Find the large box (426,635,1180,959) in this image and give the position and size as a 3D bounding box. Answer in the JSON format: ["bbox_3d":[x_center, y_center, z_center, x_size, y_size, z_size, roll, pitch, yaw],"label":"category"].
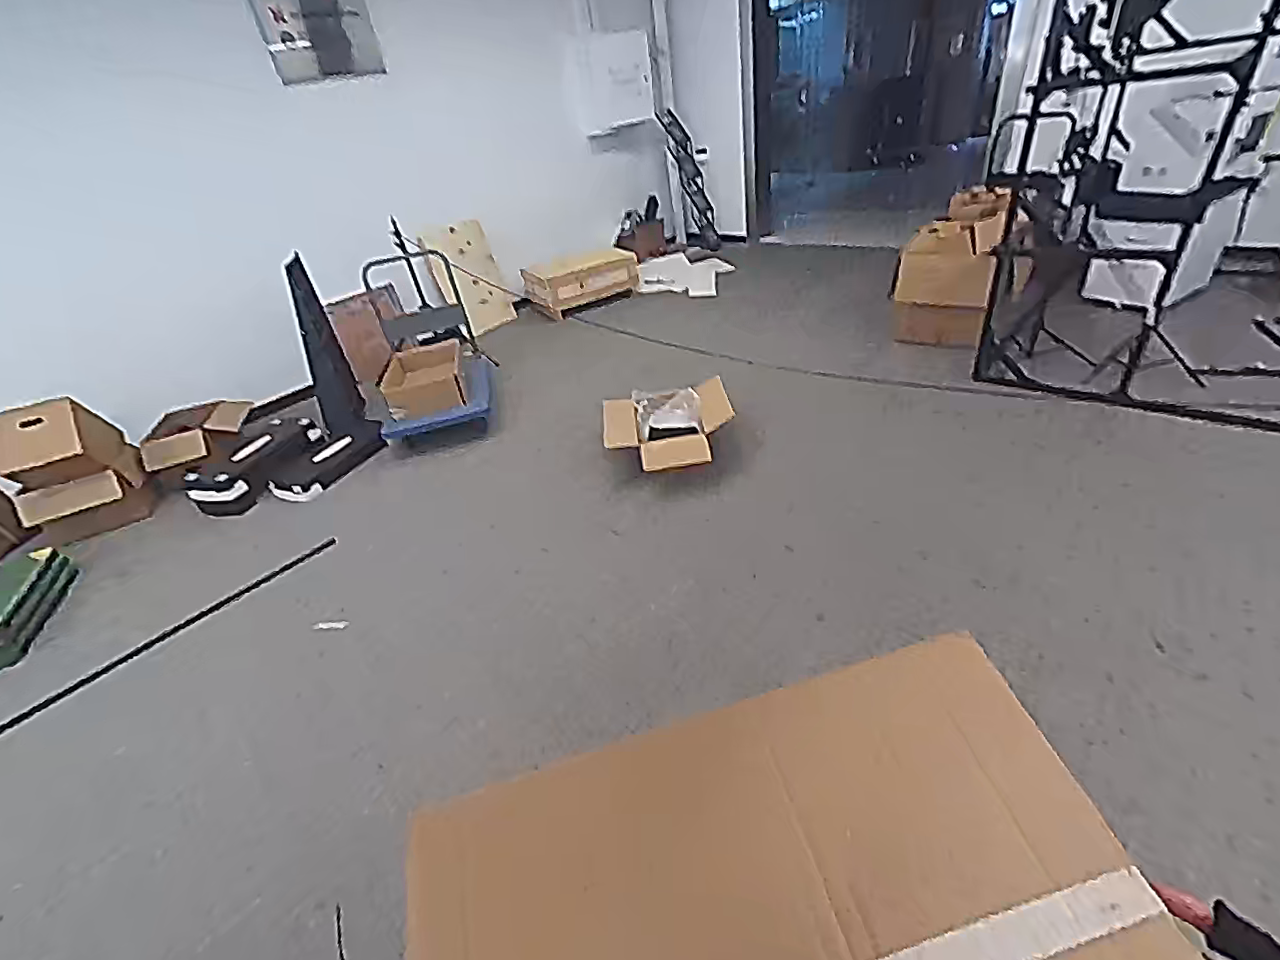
[{"bbox_3d":[0.101,0.373,0.406,0.408,0.320,0.320,-16,53,-4],"label":"large box"}]
